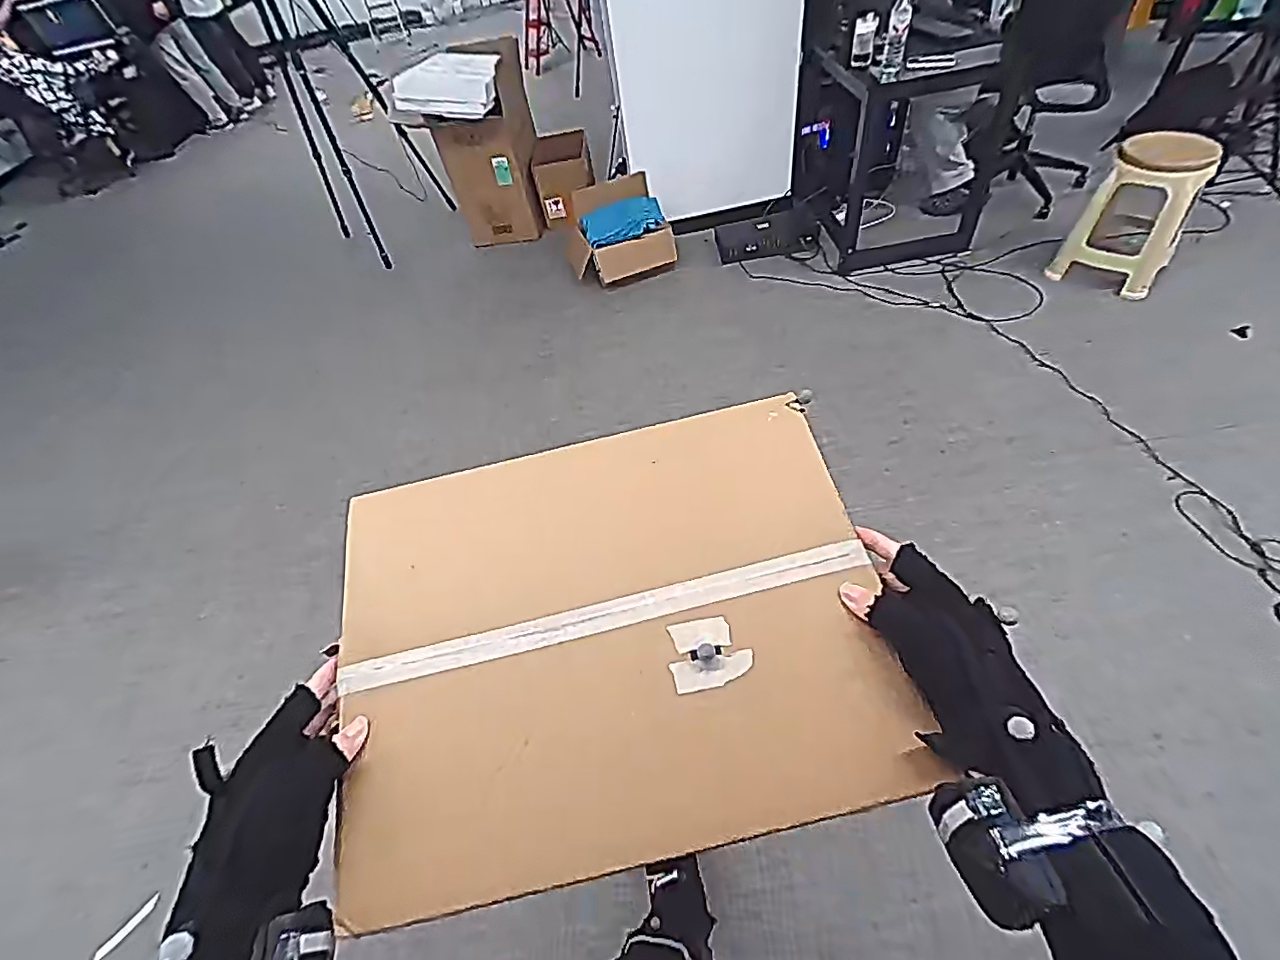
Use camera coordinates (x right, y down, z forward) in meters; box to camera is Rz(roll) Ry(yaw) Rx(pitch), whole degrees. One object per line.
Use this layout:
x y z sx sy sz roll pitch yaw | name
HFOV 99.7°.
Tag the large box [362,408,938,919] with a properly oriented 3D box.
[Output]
-0.009 0.180 0.557 0.408 0.320 0.320 -14 62 -1 | large box
